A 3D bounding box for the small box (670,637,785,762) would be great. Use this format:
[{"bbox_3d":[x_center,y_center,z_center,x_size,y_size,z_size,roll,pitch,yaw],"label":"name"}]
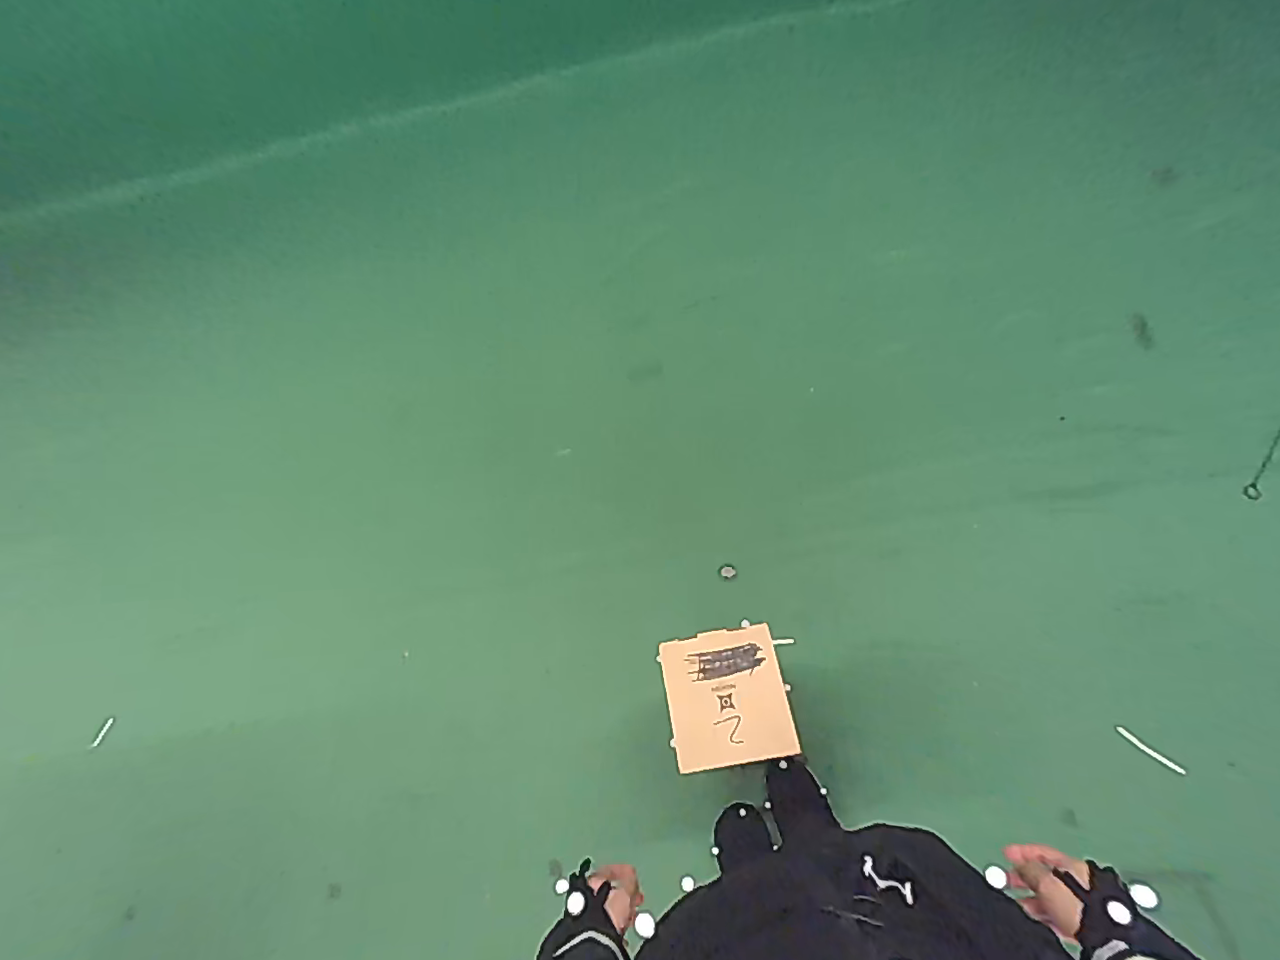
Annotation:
[{"bbox_3d":[0.157,0.397,0.976,0.168,0.176,0.179,-12,63,5],"label":"small box"}]
